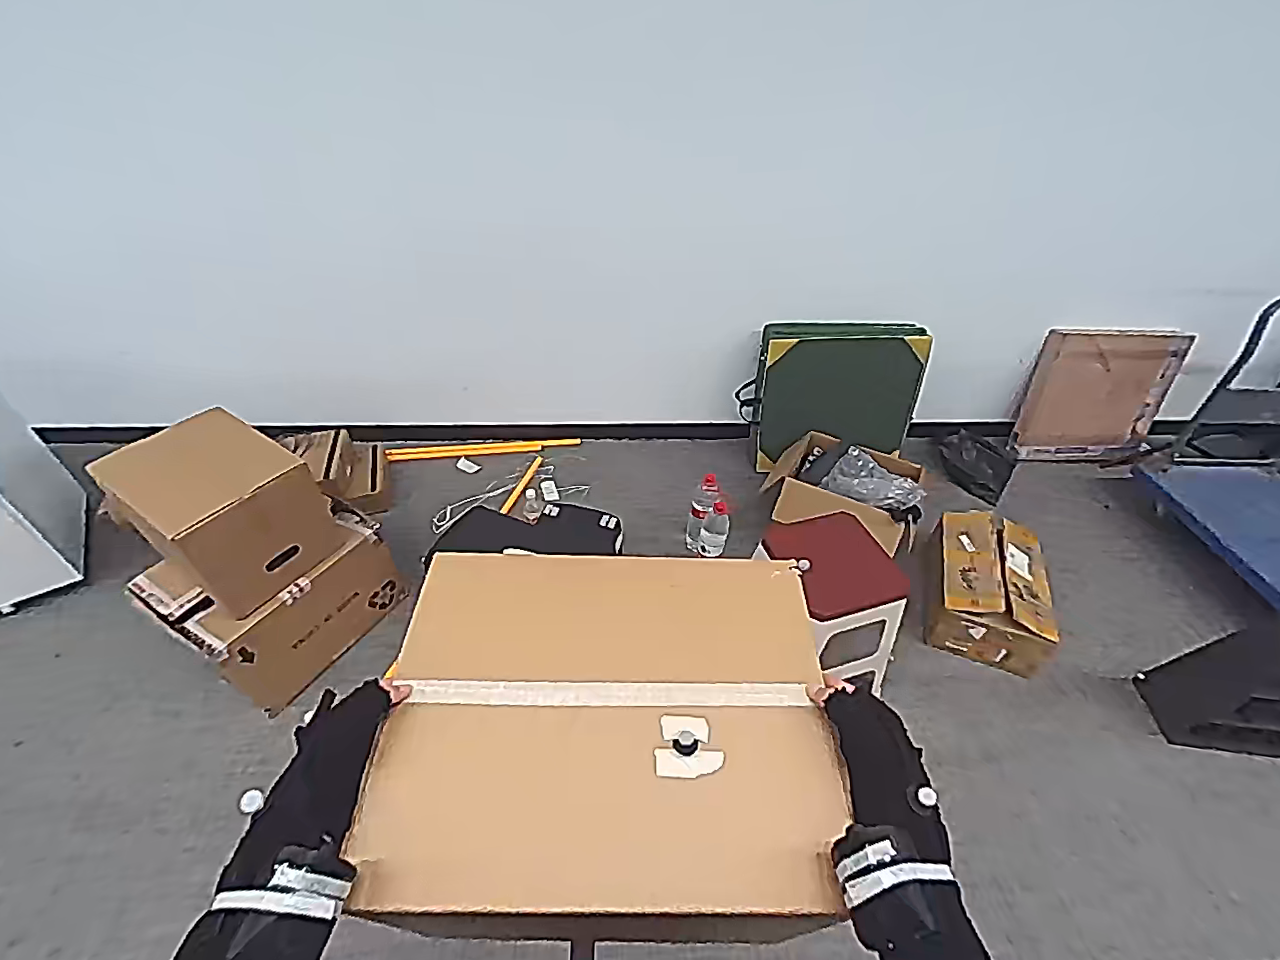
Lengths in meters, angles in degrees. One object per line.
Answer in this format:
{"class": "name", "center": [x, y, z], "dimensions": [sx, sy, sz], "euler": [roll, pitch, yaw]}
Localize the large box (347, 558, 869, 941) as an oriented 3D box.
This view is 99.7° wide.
{"class": "large box", "center": [-0.030, 0.306, 0.614], "dimensions": [0.408, 0.320, 0.320], "euler": [2, 47, -2]}
